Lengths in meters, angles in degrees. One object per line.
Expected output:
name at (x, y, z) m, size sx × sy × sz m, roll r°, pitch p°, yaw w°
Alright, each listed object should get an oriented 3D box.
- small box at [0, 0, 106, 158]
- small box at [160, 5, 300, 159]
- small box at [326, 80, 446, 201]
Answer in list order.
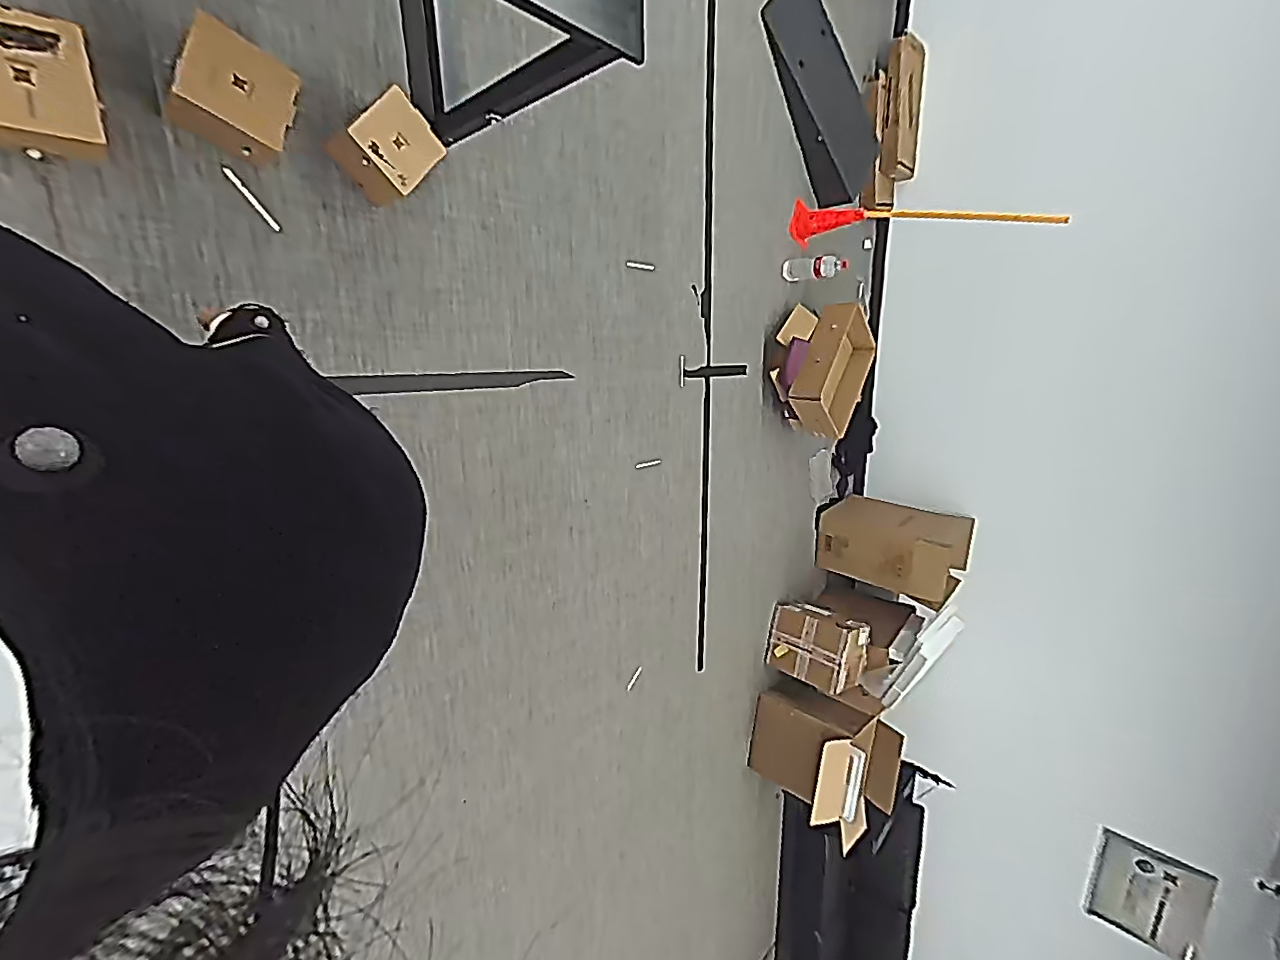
small box at (-1.024, -0.662, 0.894) m, size 0.168 × 0.176 × 0.179 m, roll -16°, pitch 113°, yaw -45°
small box at (-0.825, -0.780, 1.087) m, size 0.179 × 0.176 × 0.168 m, roll 16°, pitch 87°, yaw -48°
small box at (-0.617, -0.811, 1.306) m, size 0.168 × 0.176 × 0.179 m, roll 47°, pitch 65°, yaw -43°
